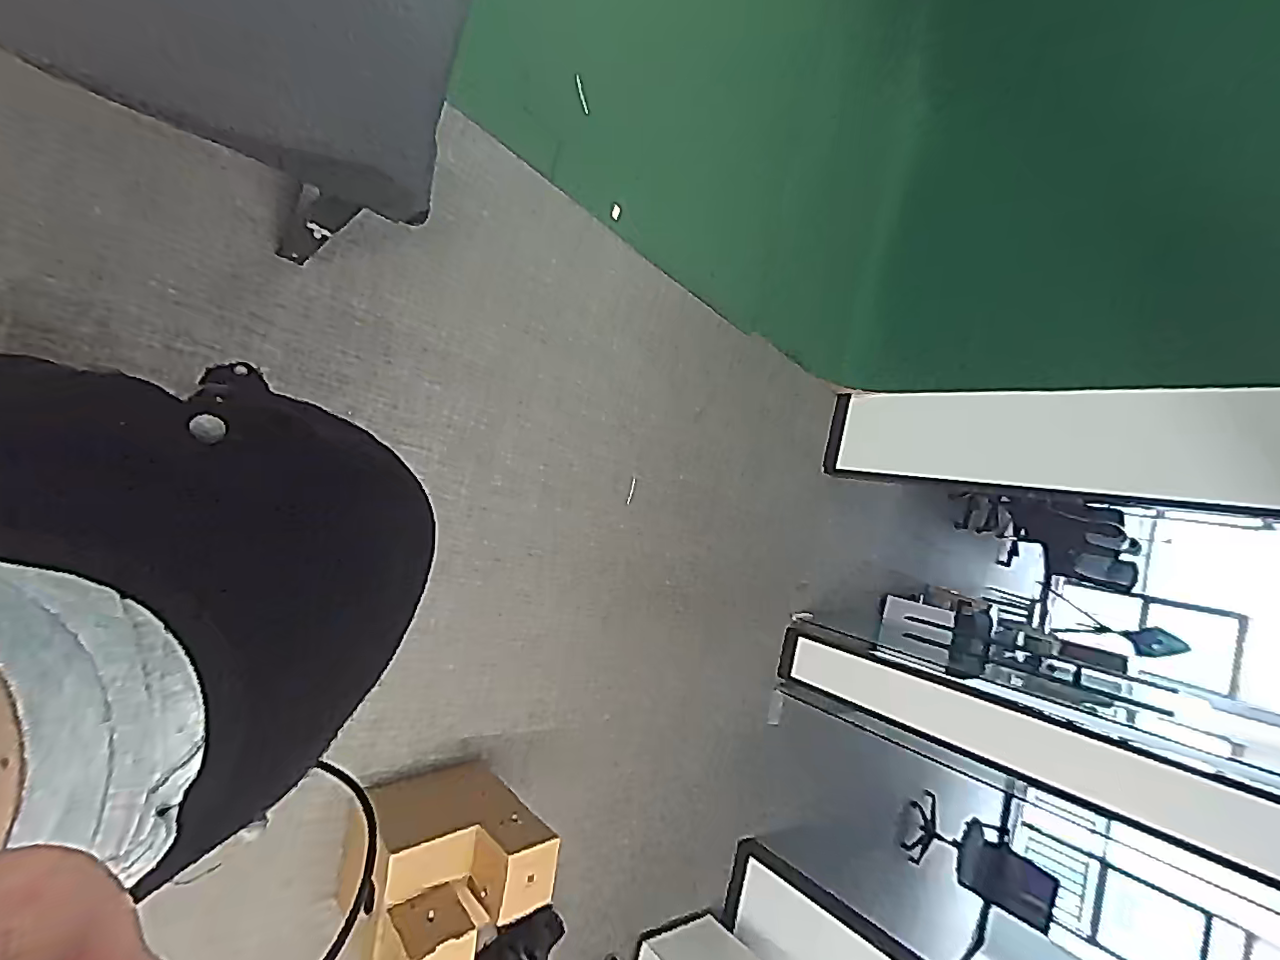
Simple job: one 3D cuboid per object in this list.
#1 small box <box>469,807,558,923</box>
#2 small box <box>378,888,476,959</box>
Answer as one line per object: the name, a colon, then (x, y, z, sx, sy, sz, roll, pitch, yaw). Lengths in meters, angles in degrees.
small box: (-0.351, 1.043, 1.483, 0.168, 0.176, 0.179, 11, 84, -45)
small box: (-0.527, 1.155, 1.329, 0.168, 0.176, 0.179, 7, 92, -44)
